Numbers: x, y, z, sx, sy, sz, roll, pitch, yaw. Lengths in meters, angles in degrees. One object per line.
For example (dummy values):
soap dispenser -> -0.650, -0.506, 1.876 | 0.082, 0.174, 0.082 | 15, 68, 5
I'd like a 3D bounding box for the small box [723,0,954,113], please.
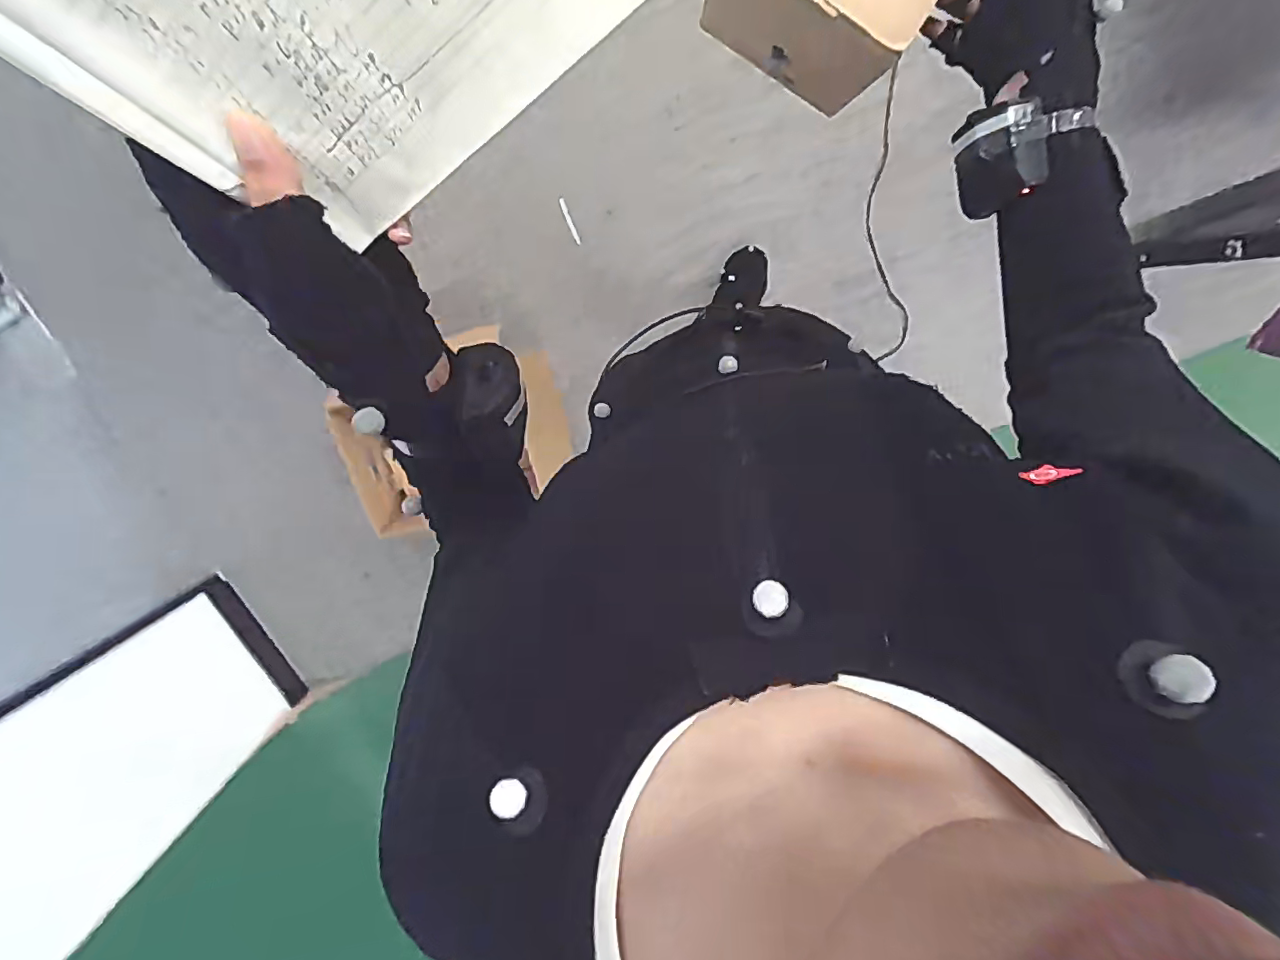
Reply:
small box -> 0.185, -0.458, 0.452 | 0.168, 0.176, 0.179 | 29, 109, -10
